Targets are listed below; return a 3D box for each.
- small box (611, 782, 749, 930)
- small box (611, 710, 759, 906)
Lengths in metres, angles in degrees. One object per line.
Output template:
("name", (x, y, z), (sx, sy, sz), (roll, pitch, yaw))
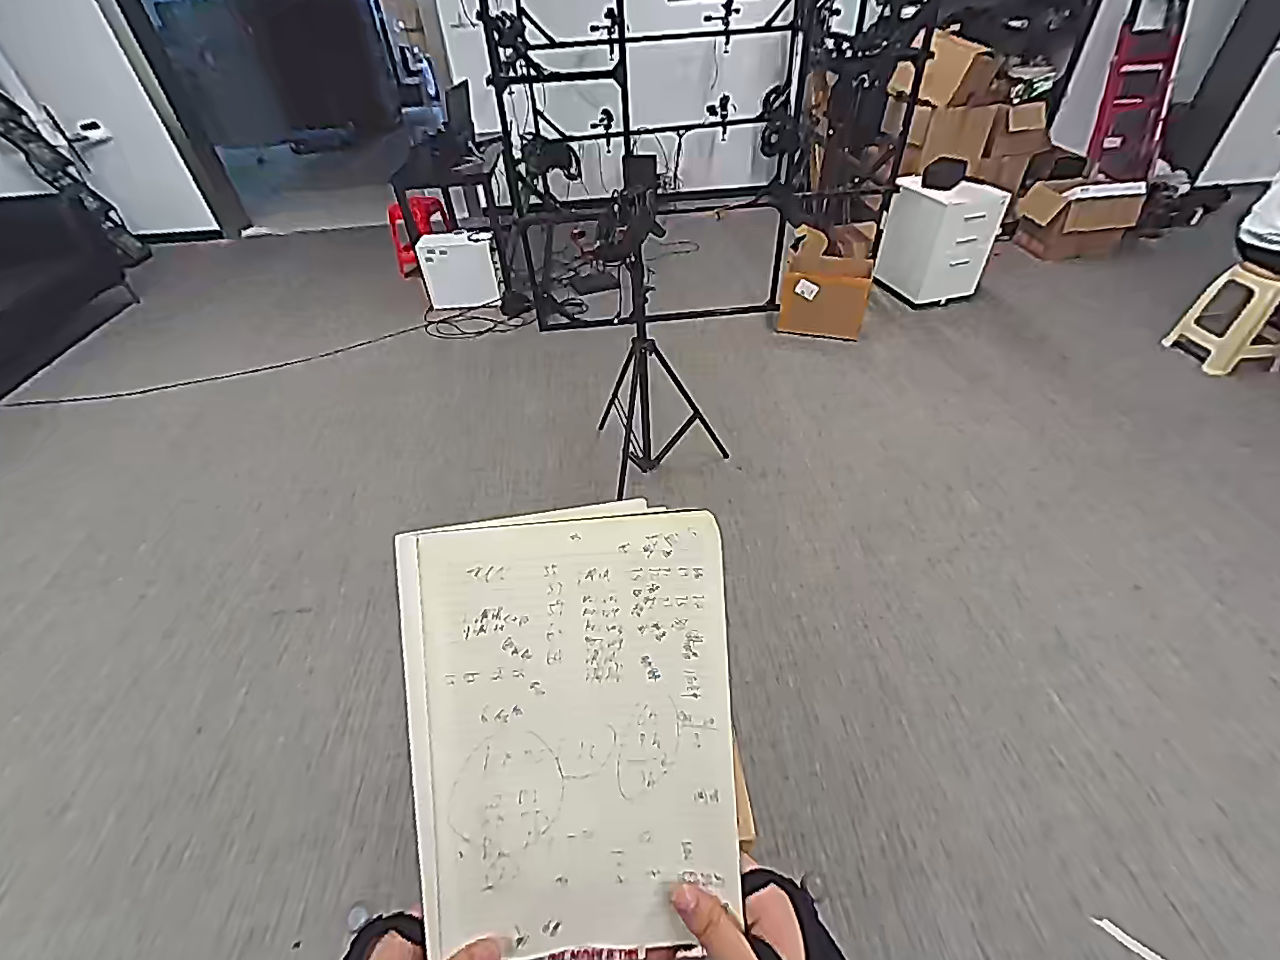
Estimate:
("small box", (0.051, 0.556, 0.819), (0.179, 0.176, 0.168), (-6, 43, -5))
("small box", (0.046, 0.431, 0.713), (0.168, 0.176, 0.179), (-3, 43, -3))
